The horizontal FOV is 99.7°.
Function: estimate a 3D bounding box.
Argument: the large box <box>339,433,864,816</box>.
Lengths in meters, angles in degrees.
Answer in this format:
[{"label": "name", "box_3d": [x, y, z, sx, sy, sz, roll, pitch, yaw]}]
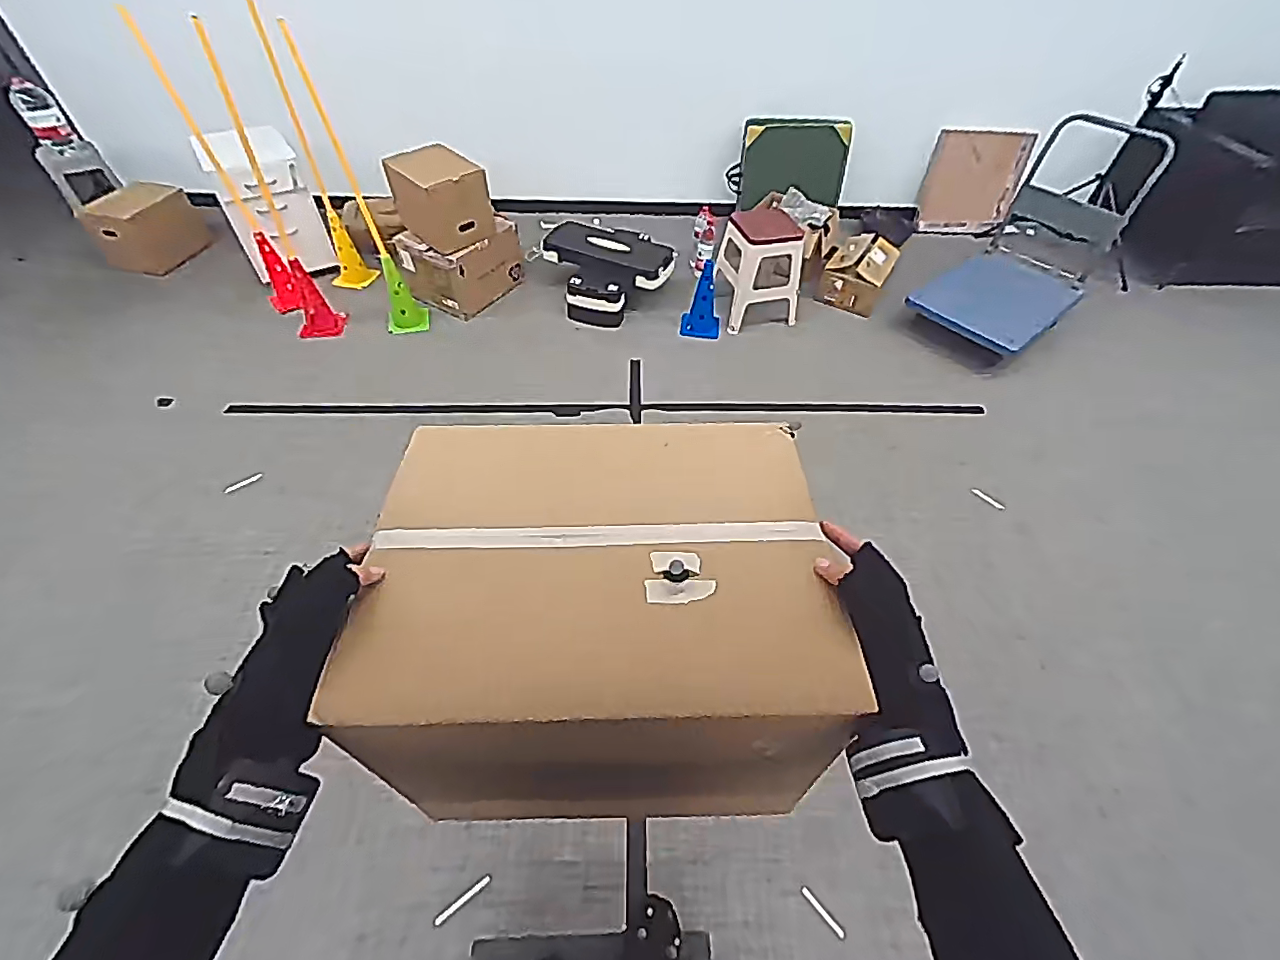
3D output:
[{"label": "large box", "box_3d": [-0.034, 0.163, 0.611, 0.408, 0.320, 0.320, 0, 47, -1]}]

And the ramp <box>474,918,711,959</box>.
[{"label": "ramp", "box_3d": [-0.084, 1.362, 0.893, 0.509, 0.206, 0.991, -1, 50, -4]}]
